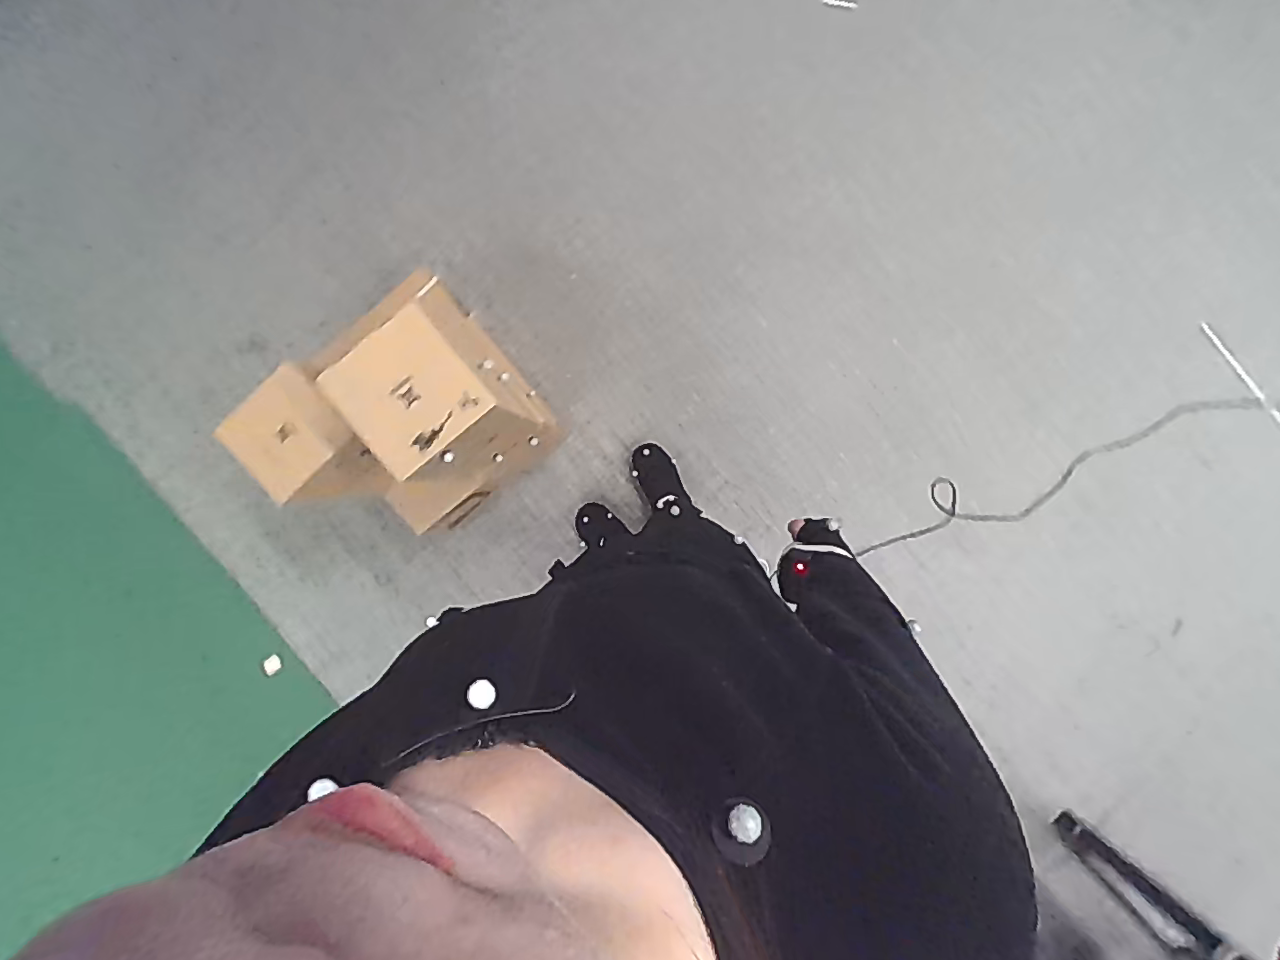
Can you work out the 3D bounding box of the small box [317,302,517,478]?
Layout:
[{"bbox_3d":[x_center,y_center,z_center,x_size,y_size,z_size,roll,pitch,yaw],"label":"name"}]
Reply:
[{"bbox_3d":[-0.306,-0.116,0.780,0.168,0.176,0.179,-39,91,0],"label":"small box"}]

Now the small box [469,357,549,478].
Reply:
[{"bbox_3d":[-0.303,-0.121,1.108,0.179,0.176,0.168,-39,90,1],"label":"small box"}]

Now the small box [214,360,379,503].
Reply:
[{"bbox_3d":[-0.571,-0.080,0.950,0.179,0.176,0.168,-42,89,2],"label":"small box"}]

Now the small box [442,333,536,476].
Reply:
[{"bbox_3d":[-0.307,-0.121,0.944,0.168,0.176,0.179,-39,92,0],"label":"small box"}]
